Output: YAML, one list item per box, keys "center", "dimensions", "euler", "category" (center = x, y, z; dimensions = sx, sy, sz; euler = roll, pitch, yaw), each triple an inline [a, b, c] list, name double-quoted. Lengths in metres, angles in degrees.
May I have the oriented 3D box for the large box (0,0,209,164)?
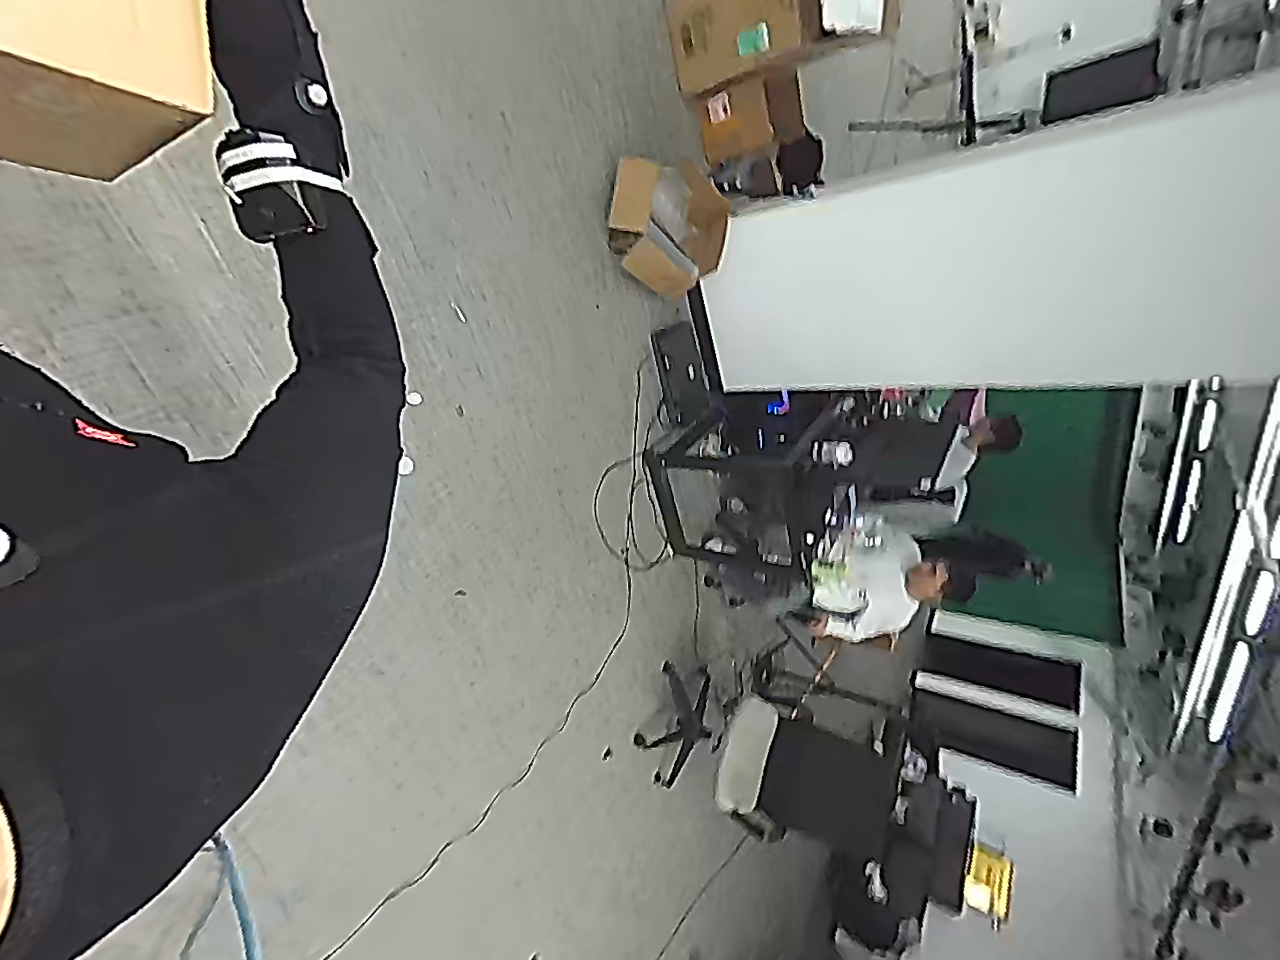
- center: [-0.539, -0.405, 0.276]
  dimensions: [0.408, 0.320, 0.320]
  euler: [-16, 114, -52]
  category: "large box"
